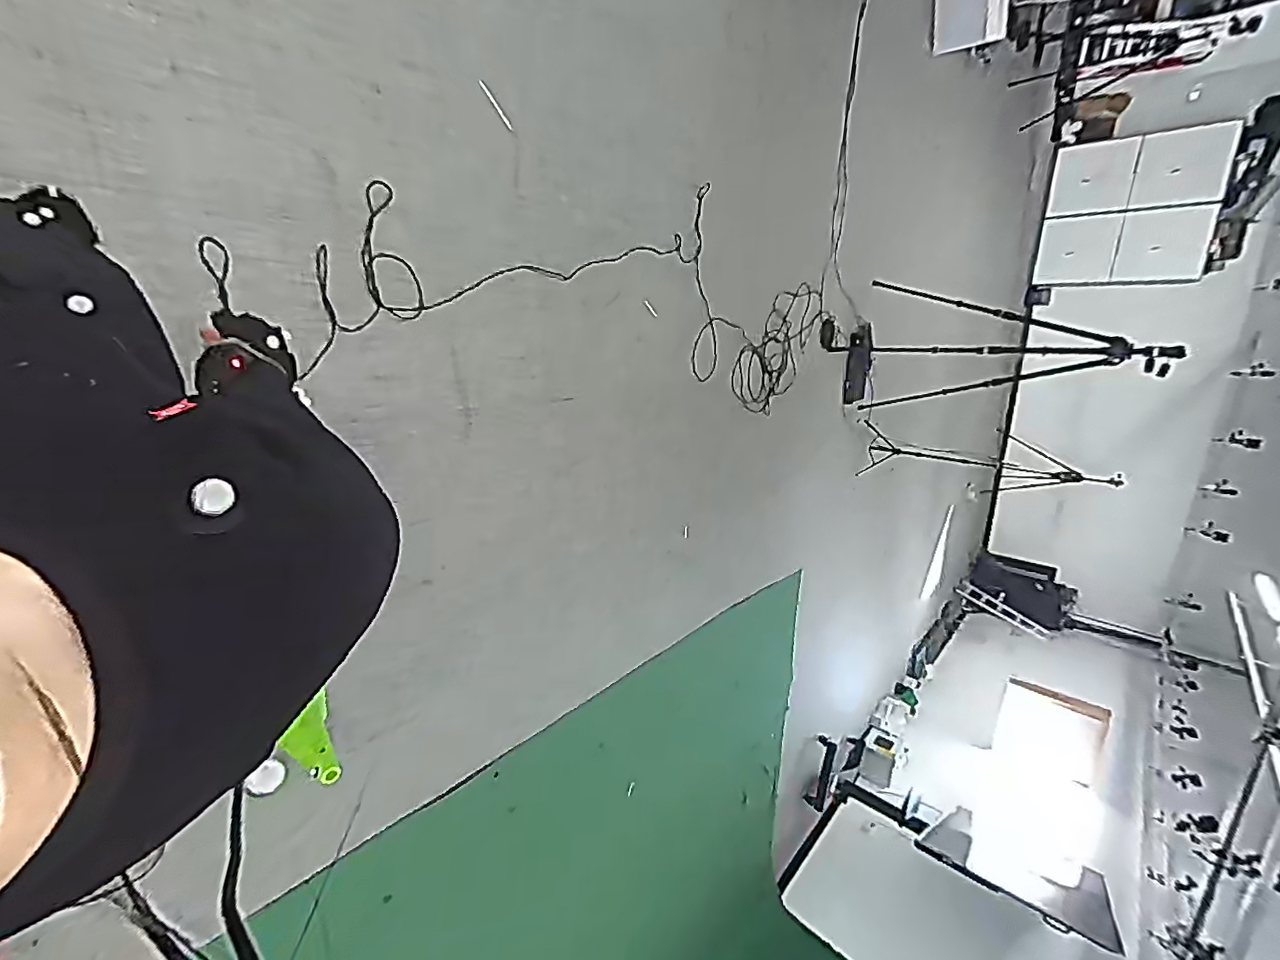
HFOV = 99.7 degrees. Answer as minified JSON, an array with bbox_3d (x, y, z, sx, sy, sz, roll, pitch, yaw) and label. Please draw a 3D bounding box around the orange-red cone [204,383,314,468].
[{"bbox_3d":[-0.787,-0.091,1.176,0.198,0.360,0.199,-8,109,-46],"label":"orange-red cone"}]
